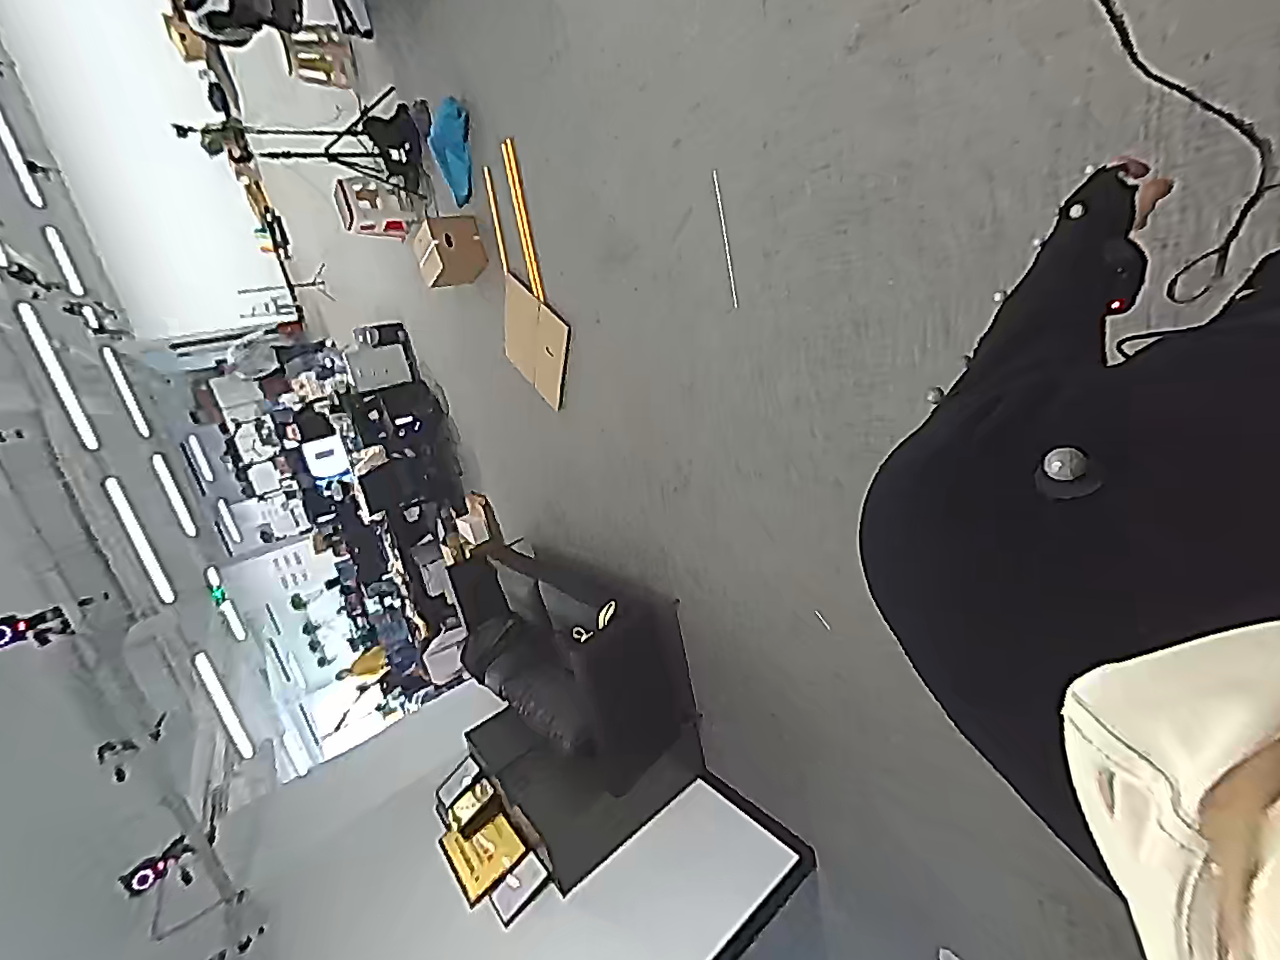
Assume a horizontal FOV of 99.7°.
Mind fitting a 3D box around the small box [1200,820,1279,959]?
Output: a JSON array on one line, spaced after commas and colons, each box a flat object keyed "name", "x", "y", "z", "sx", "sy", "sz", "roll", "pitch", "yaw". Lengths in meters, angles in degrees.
[{"name": "small box", "x": 1.032, "y": 0.692, "z": 0.851, "sx": 0.168, "sy": 0.176, "sz": 0.179, "roll": 19, "pitch": 125, "yaw": 50}]
